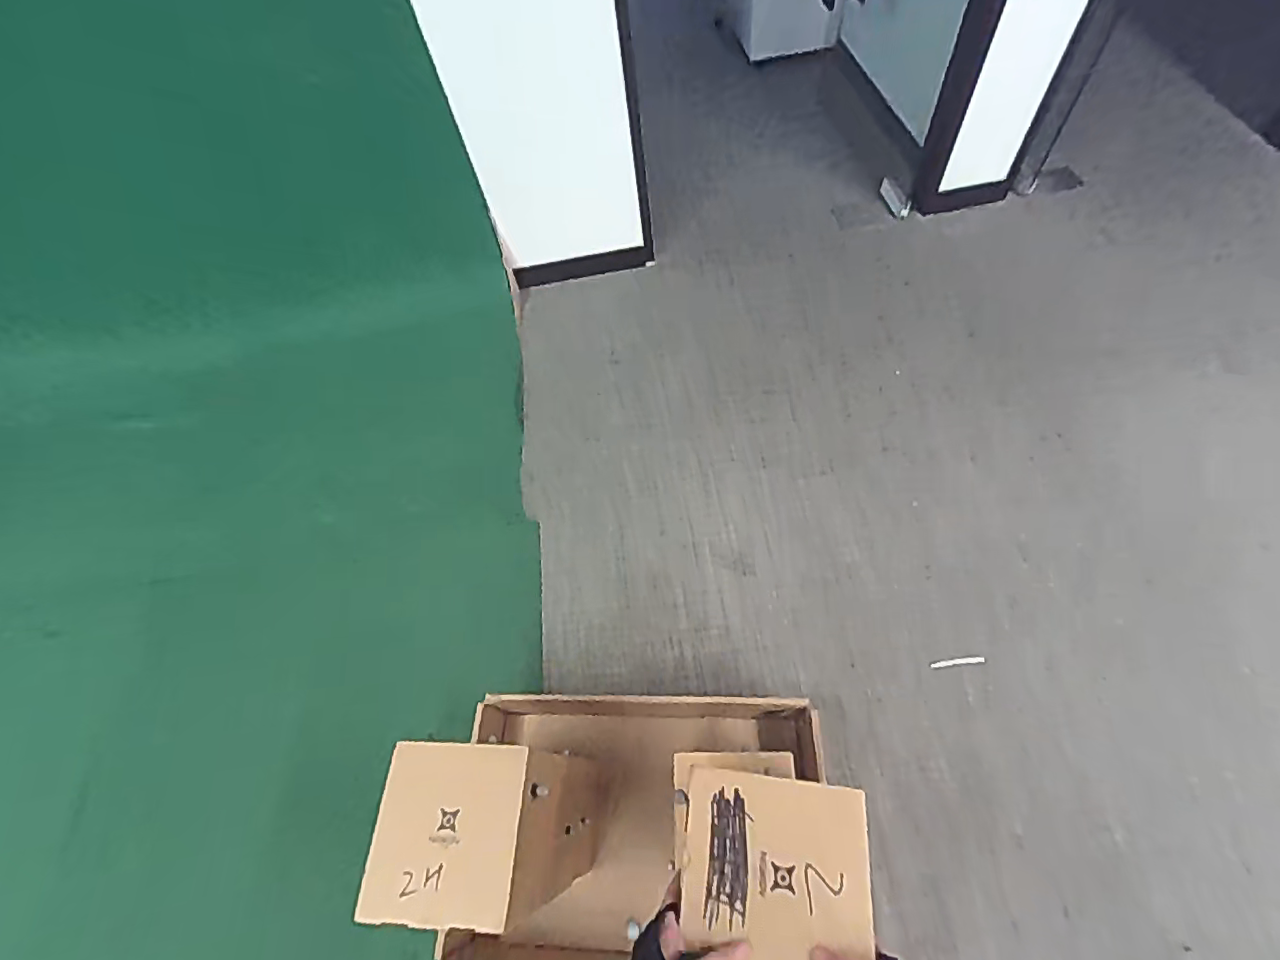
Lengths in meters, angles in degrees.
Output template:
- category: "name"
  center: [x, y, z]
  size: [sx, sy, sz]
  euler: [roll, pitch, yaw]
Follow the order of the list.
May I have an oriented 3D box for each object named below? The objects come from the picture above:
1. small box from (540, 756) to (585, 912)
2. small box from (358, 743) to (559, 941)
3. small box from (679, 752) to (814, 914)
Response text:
- category: "small box"
  center: [-0.182, 0.511, 0.807]
  size: [0.168, 0.176, 0.179]
  euler: [1, 61, 7]
- category: "small box"
  center: [-0.203, 0.431, 0.665]
  size: [0.168, 0.176, 0.179]
  euler: [0, 60, 6]
- category: "small box"
  center: [0.141, 0.494, 0.773]
  size: [0.168, 0.176, 0.179]
  euler: [-3, 60, 7]
